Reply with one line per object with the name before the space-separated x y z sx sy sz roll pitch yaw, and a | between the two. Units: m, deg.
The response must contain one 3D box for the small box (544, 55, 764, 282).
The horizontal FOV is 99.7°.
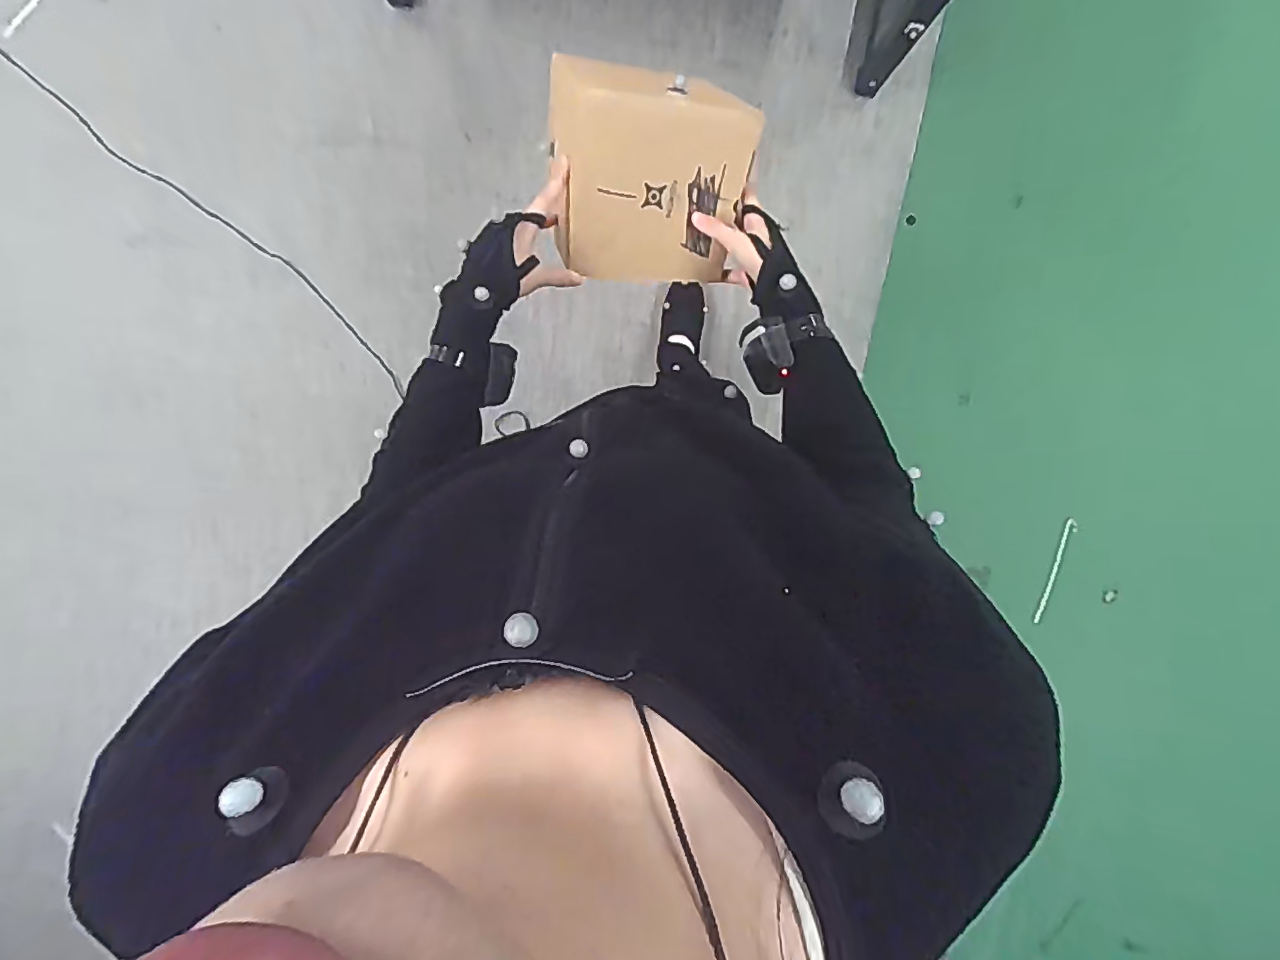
small box | -0.001 -0.332 0.580 0.179 0.176 0.168 -3 135 -17
